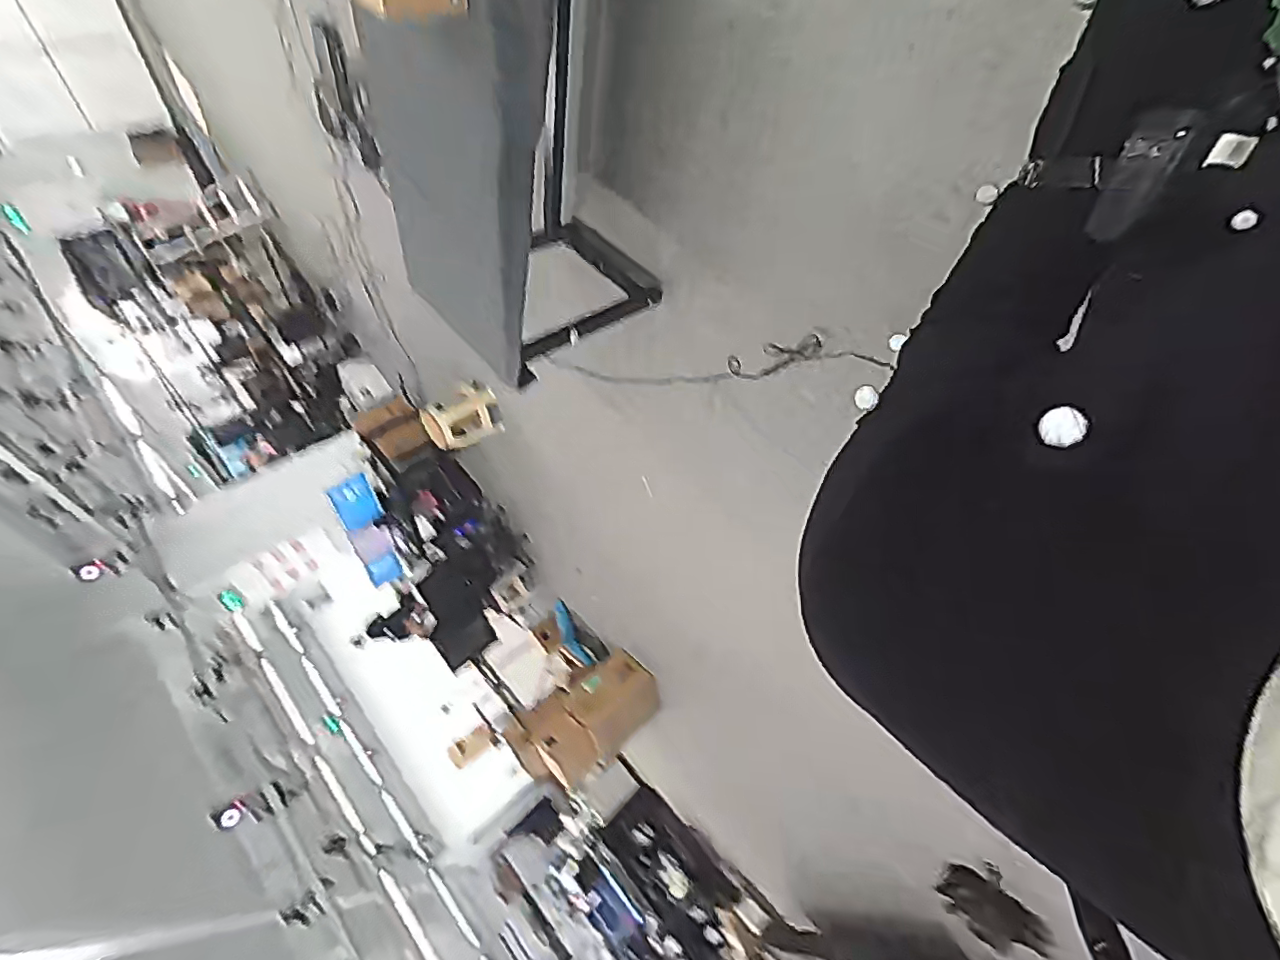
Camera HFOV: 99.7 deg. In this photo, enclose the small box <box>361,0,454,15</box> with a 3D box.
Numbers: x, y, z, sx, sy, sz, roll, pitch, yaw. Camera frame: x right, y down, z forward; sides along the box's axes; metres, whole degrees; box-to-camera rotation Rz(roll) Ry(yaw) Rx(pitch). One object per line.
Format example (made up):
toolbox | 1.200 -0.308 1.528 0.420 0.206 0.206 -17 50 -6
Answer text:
small box | -0.439 -0.962 0.954 0.179 0.176 0.168 46 150 20
